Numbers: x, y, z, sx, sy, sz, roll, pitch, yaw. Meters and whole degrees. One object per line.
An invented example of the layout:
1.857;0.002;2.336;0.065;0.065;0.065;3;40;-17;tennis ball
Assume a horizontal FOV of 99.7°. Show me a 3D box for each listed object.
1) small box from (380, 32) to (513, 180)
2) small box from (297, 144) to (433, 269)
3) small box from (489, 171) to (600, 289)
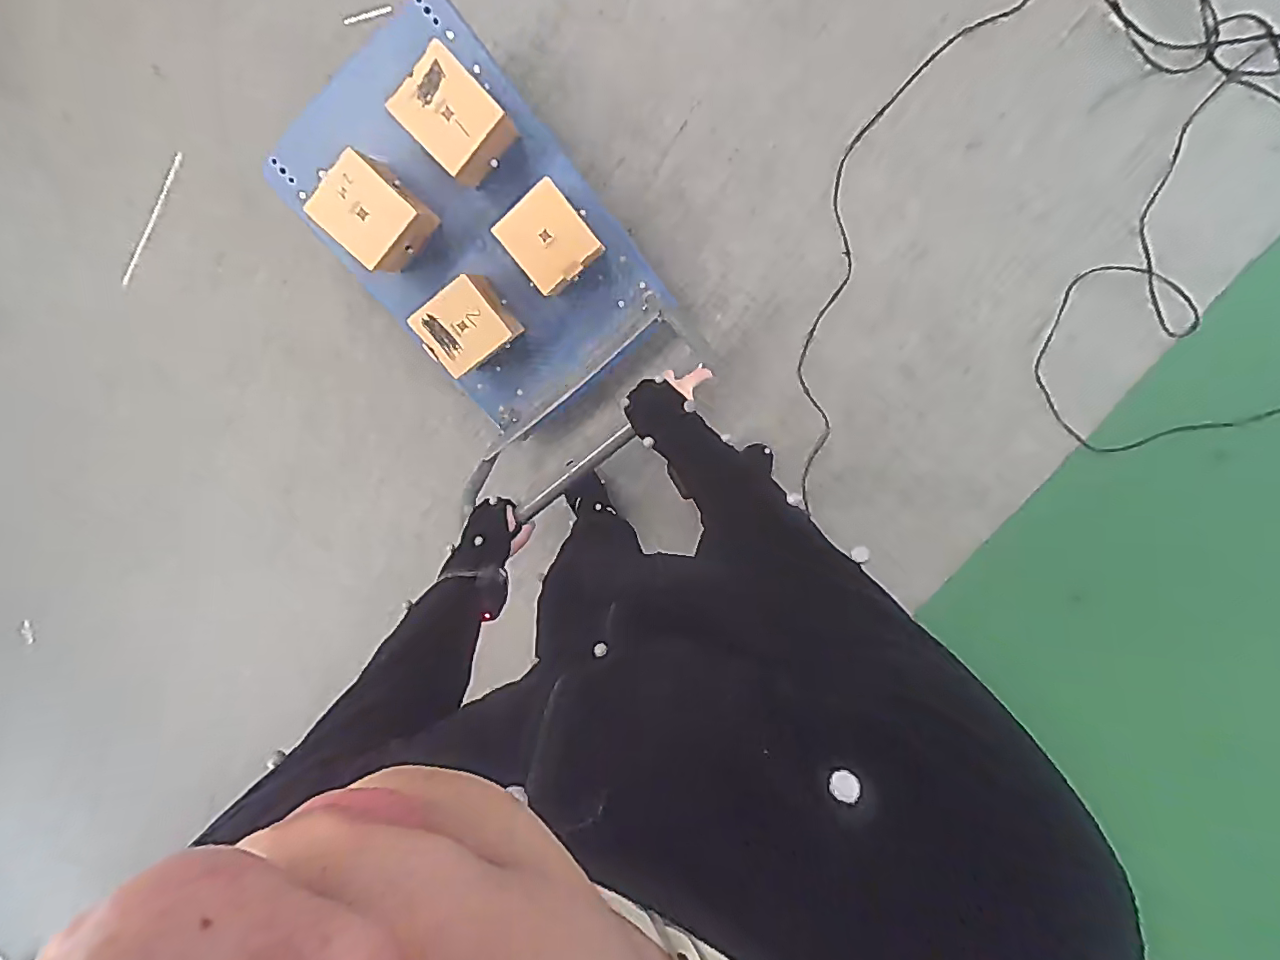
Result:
-0.394;-0.764;1.132;0.168;0.176;0.179;-43;107;13;small box
-0.591;-0.589;1.189;0.179;0.176;0.168;43;103;-16;small box
-0.207;-0.551;1.219;0.168;0.176;0.179;-38;108;12;small box
